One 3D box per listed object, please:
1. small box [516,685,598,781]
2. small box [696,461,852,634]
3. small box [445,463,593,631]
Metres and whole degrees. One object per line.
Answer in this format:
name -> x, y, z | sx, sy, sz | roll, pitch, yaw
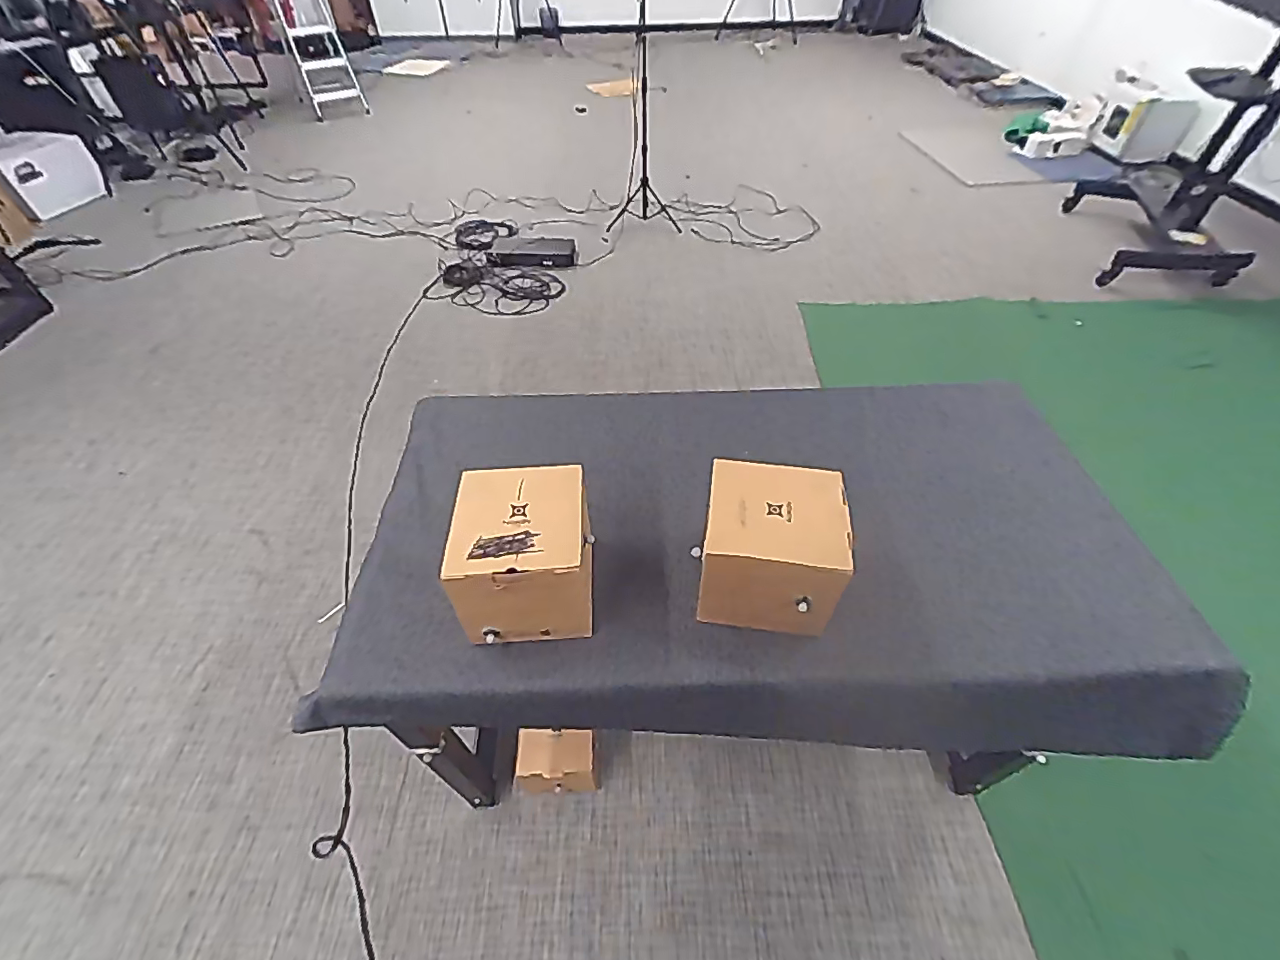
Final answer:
small box -> -0.188, 0.604, 1.282 | 0.168, 0.176, 0.179 | -1, 49, -1
small box -> 0.178, 0.097, 0.755 | 0.179, 0.176, 0.168 | 6, 47, 7
small box -> -0.152, 0.098, 0.752 | 0.168, 0.176, 0.179 | -2, 47, -2
